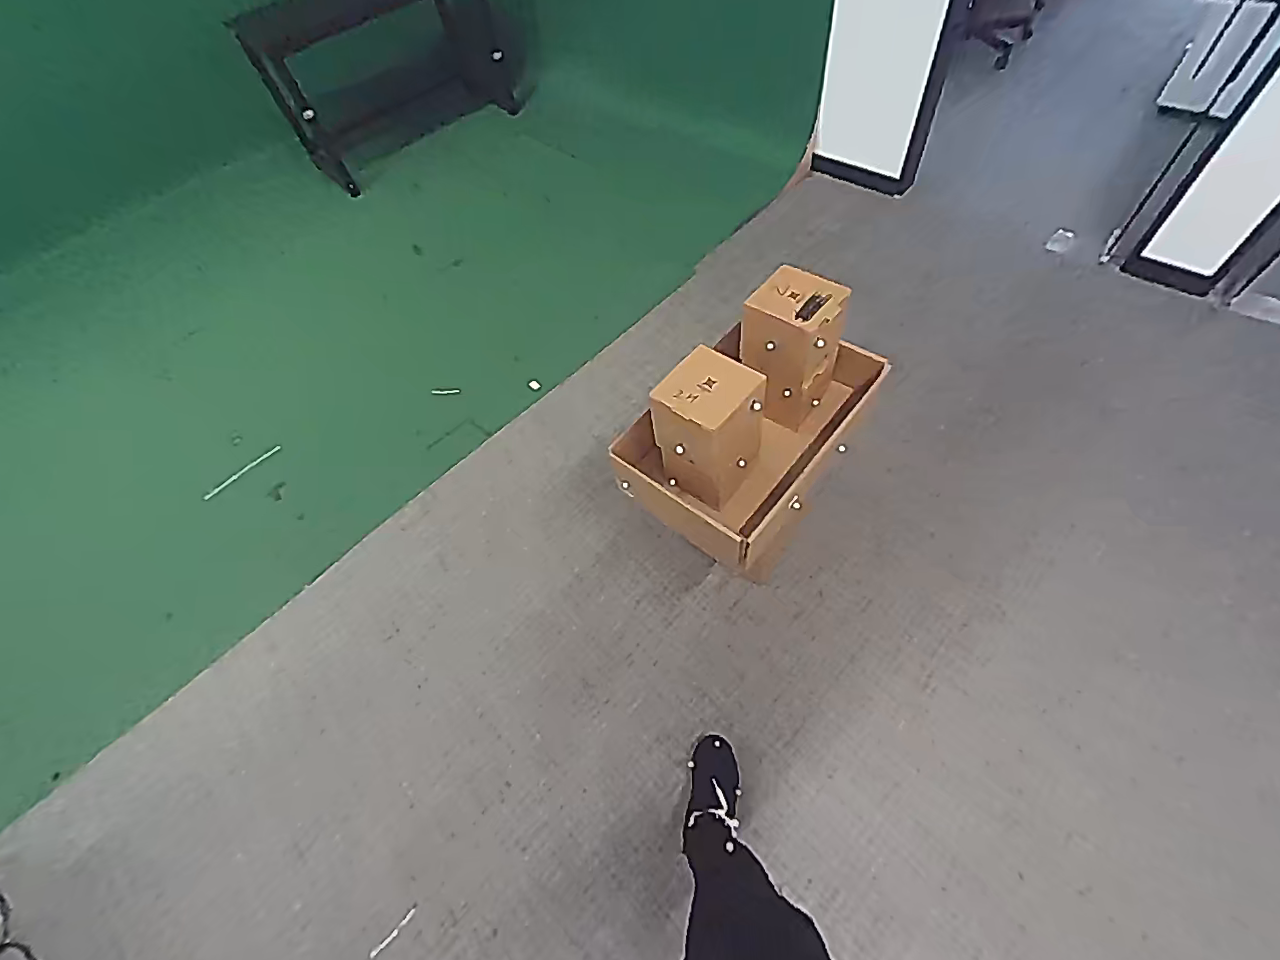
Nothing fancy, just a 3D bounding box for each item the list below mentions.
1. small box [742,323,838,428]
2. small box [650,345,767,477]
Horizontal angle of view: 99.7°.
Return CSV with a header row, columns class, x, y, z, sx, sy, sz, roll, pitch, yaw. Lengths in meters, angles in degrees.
class,x,y,z,sx,sy,sz,roll,pitch,yaw
small box,0.371,-0.261,1.378,0.179,0.176,0.168,31,65,23
small box,0.142,-0.142,1.132,0.168,0.176,0.179,34,68,26
